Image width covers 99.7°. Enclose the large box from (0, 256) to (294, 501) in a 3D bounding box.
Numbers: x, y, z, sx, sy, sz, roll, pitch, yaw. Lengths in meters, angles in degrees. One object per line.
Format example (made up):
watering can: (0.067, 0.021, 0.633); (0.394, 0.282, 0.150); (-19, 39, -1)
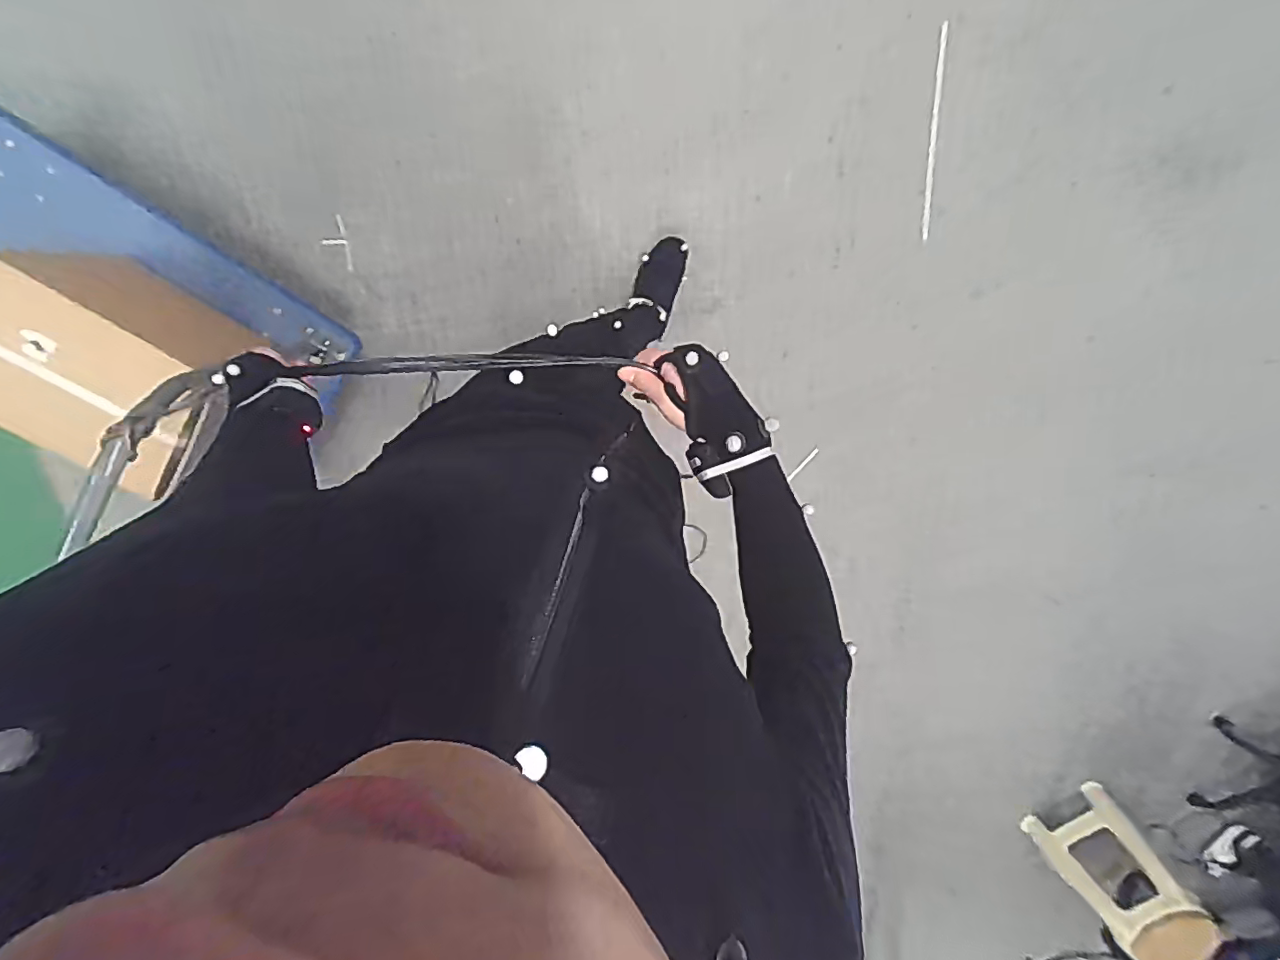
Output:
large box: (-1.067, -0.223, 1.160); (0.408, 0.320, 0.320); (33, 104, -12)
